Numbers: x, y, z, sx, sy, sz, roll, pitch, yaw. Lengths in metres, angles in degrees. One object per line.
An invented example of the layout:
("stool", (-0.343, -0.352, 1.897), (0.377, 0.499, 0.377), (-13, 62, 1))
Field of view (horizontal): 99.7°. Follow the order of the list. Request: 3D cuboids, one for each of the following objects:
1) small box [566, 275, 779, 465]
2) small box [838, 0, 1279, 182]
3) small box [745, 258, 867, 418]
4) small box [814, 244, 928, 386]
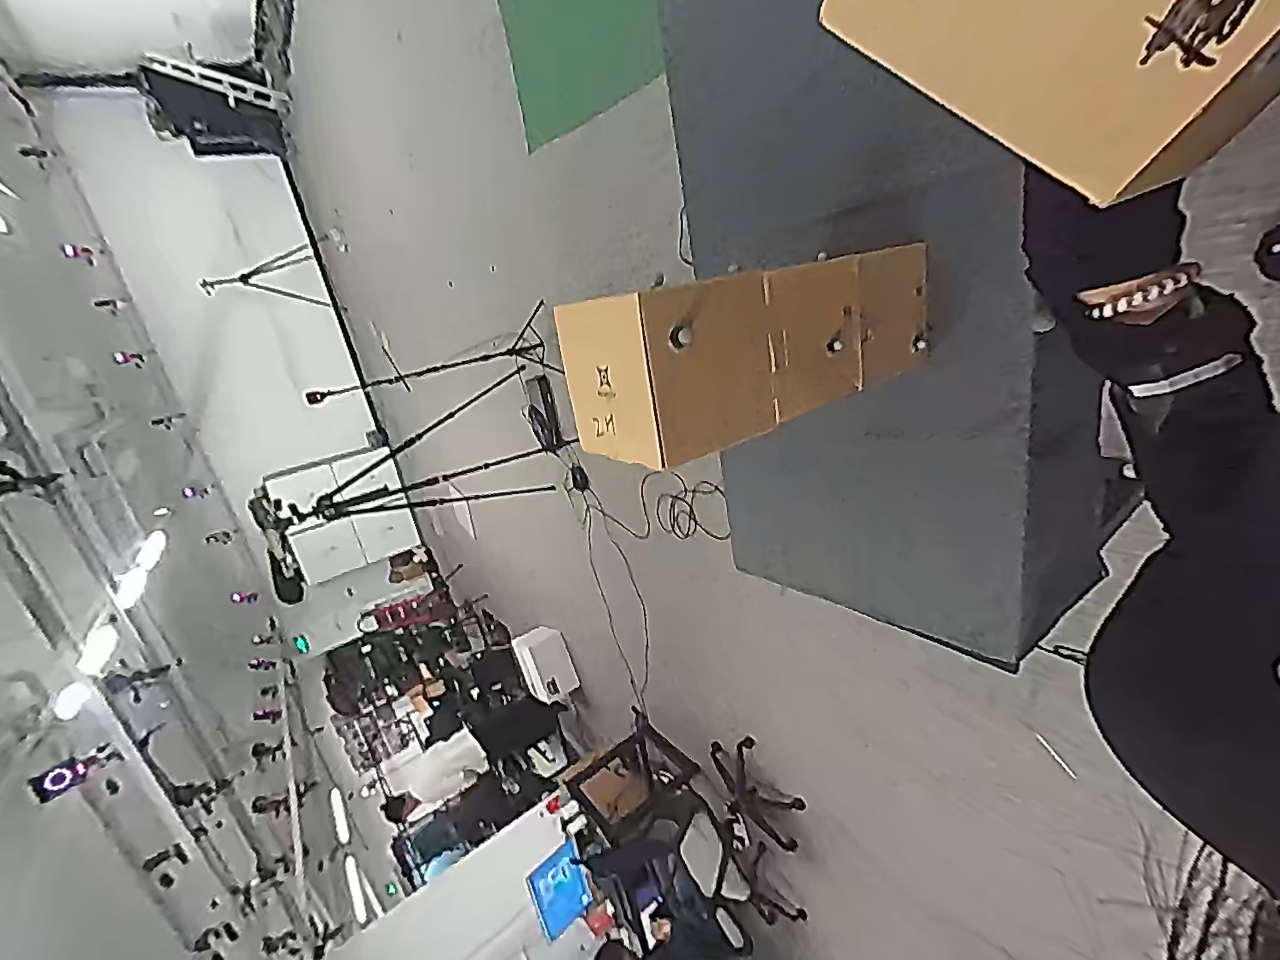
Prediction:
("small box", (0.041, -0.135, 0.626), (0.168, 0.176, 0.179), (17, 123, 53))
("small box", (0.238, -0.264, 0.243), (0.179, 0.176, 0.168), (52, 147, 19))
("small box", (0.171, -0.187, 0.712), (0.179, 0.176, 0.168), (15, 121, 53))
("small box", (0.300, -0.240, 0.795), (0.179, 0.176, 0.168), (16, 122, 54))
